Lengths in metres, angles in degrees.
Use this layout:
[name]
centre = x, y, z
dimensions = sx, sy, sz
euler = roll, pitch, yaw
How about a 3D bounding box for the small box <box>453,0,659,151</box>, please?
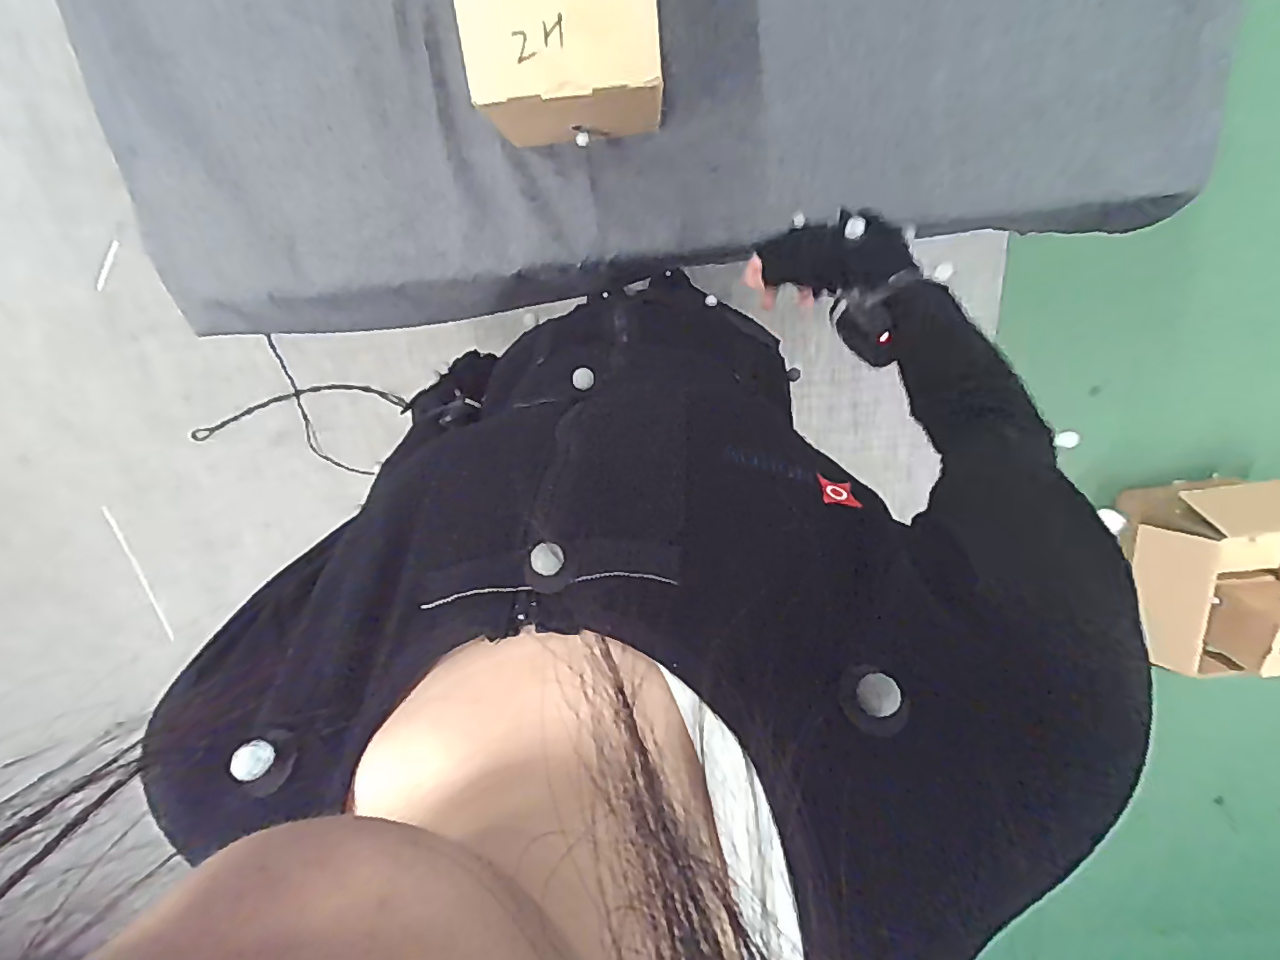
[small box]
centre = -0.072, -0.433, 0.507
dimensions = 0.168, 0.176, 0.179
euler = -5, 111, 3
